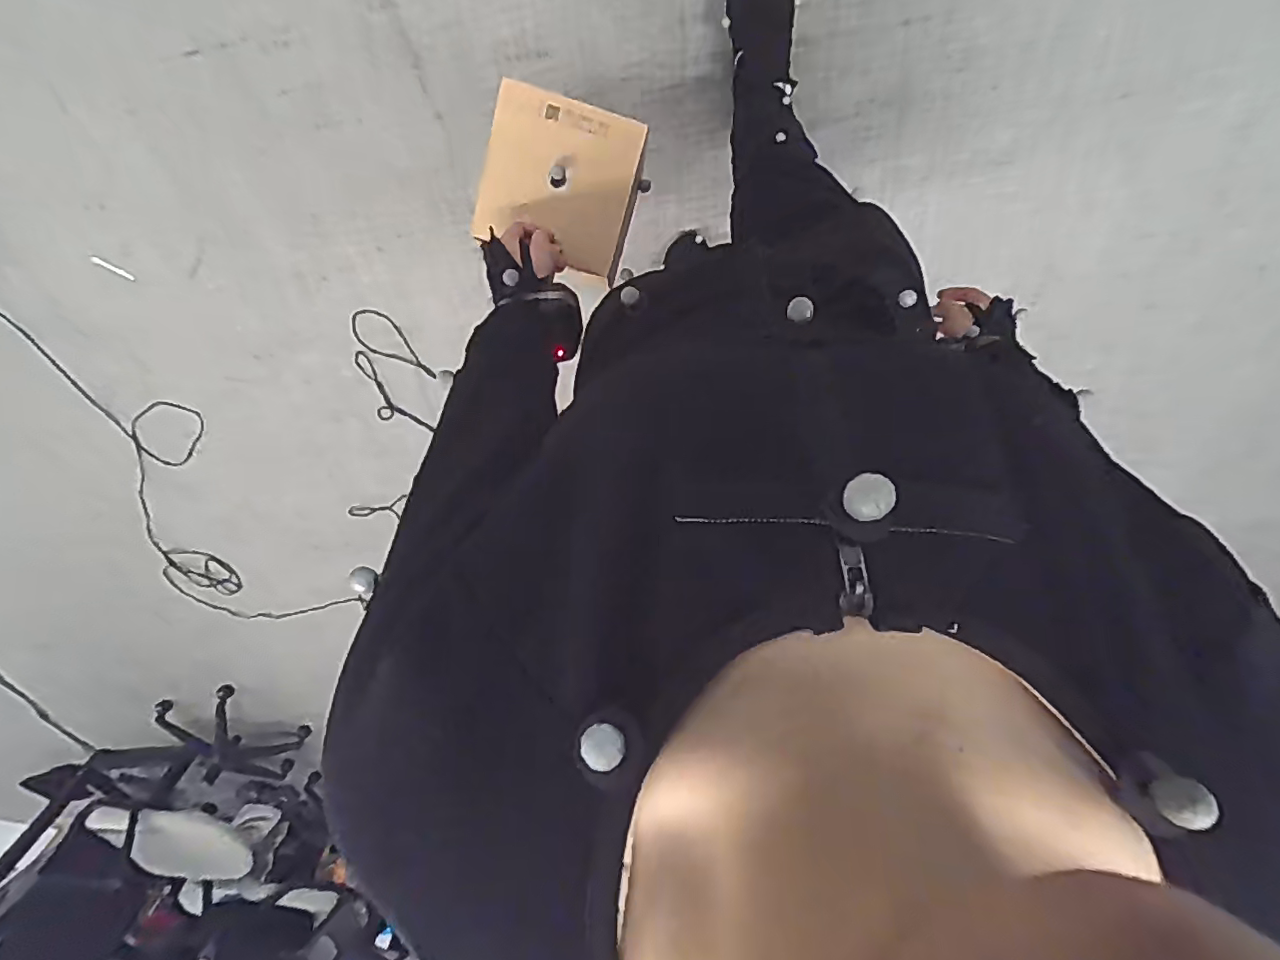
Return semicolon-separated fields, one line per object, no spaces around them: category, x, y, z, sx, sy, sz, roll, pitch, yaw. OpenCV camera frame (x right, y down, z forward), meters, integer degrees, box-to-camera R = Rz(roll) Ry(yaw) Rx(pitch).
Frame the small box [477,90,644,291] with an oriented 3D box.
small box;-0.094;-0.354;0.688;0.168;0.179;0.176;14;103;-5
